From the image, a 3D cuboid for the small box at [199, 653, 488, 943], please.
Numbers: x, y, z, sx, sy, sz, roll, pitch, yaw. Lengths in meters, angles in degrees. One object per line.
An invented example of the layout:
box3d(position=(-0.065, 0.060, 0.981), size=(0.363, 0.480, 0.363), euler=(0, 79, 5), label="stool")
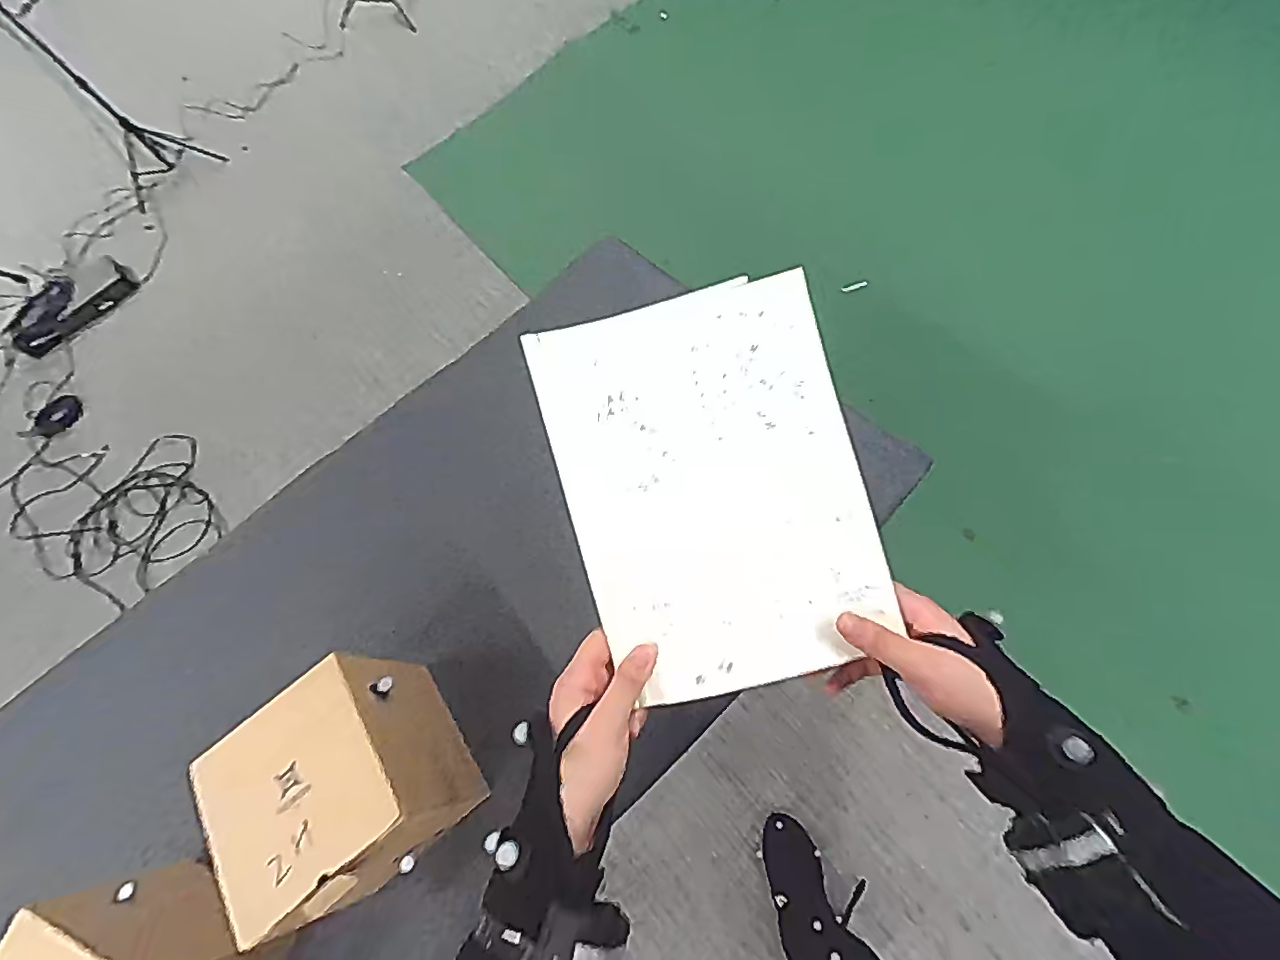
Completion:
box3d(position=(-0.294, 0.309, 0.562), size=(0.168, 0.176, 0.179), euler=(-39, 65, -5), label="small box")
